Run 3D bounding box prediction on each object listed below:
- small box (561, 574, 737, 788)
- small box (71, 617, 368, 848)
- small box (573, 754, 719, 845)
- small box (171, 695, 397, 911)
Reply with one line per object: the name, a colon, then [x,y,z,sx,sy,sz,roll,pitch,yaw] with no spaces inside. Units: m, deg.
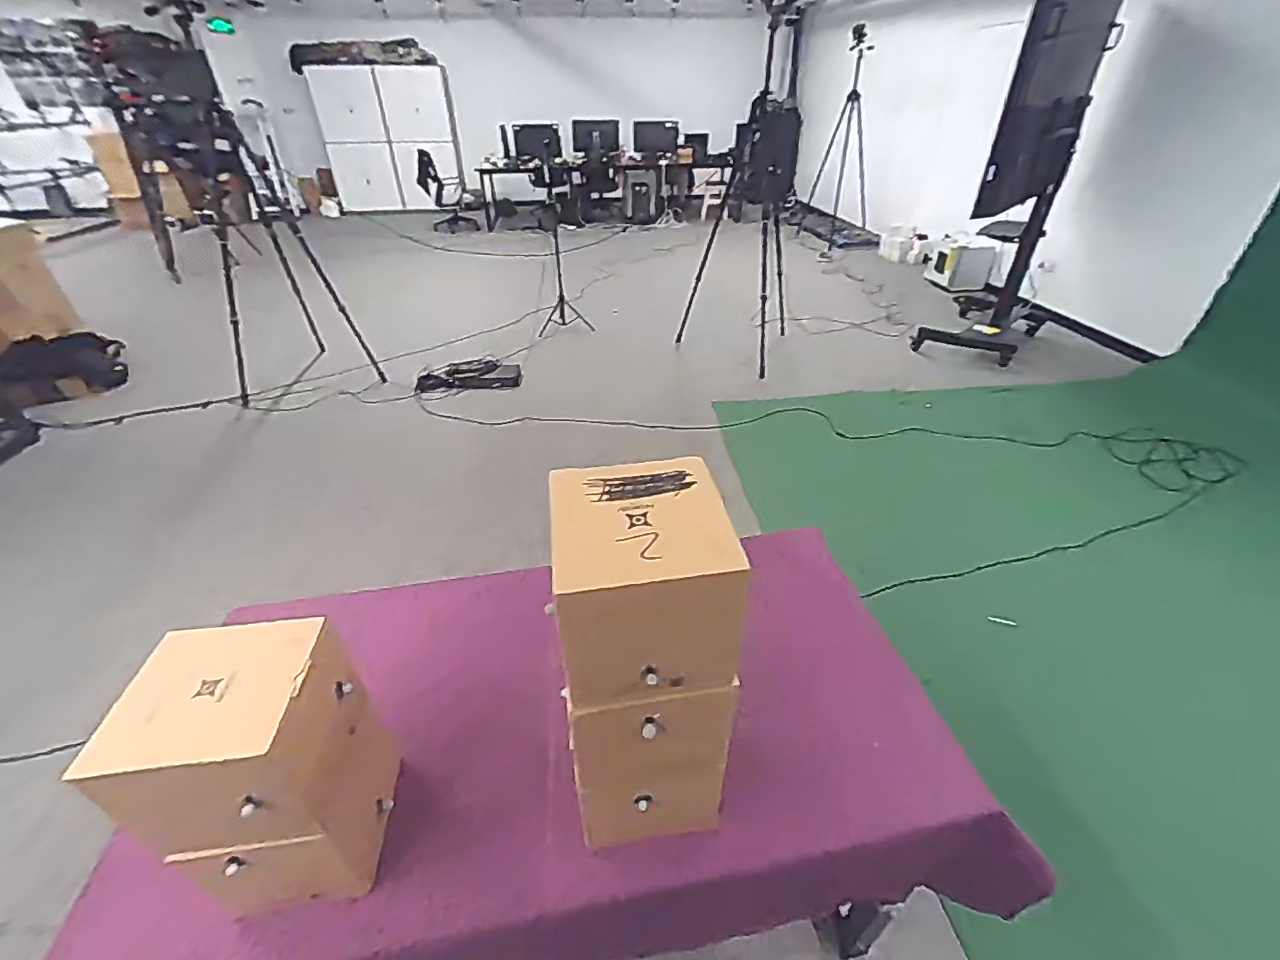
small box: [0.003,0.238,0.648,0.179,0.176,0.168,-7,37,-6]
small box: [-0.432,0.277,0.601,0.179,0.176,0.168,-5,36,-5]
small box: [0.001,0.371,0.743,0.179,0.176,0.168,-5,36,-7]
small box: [-0.430,0.411,0.696,0.168,0.176,0.179,-5,35,-5]
